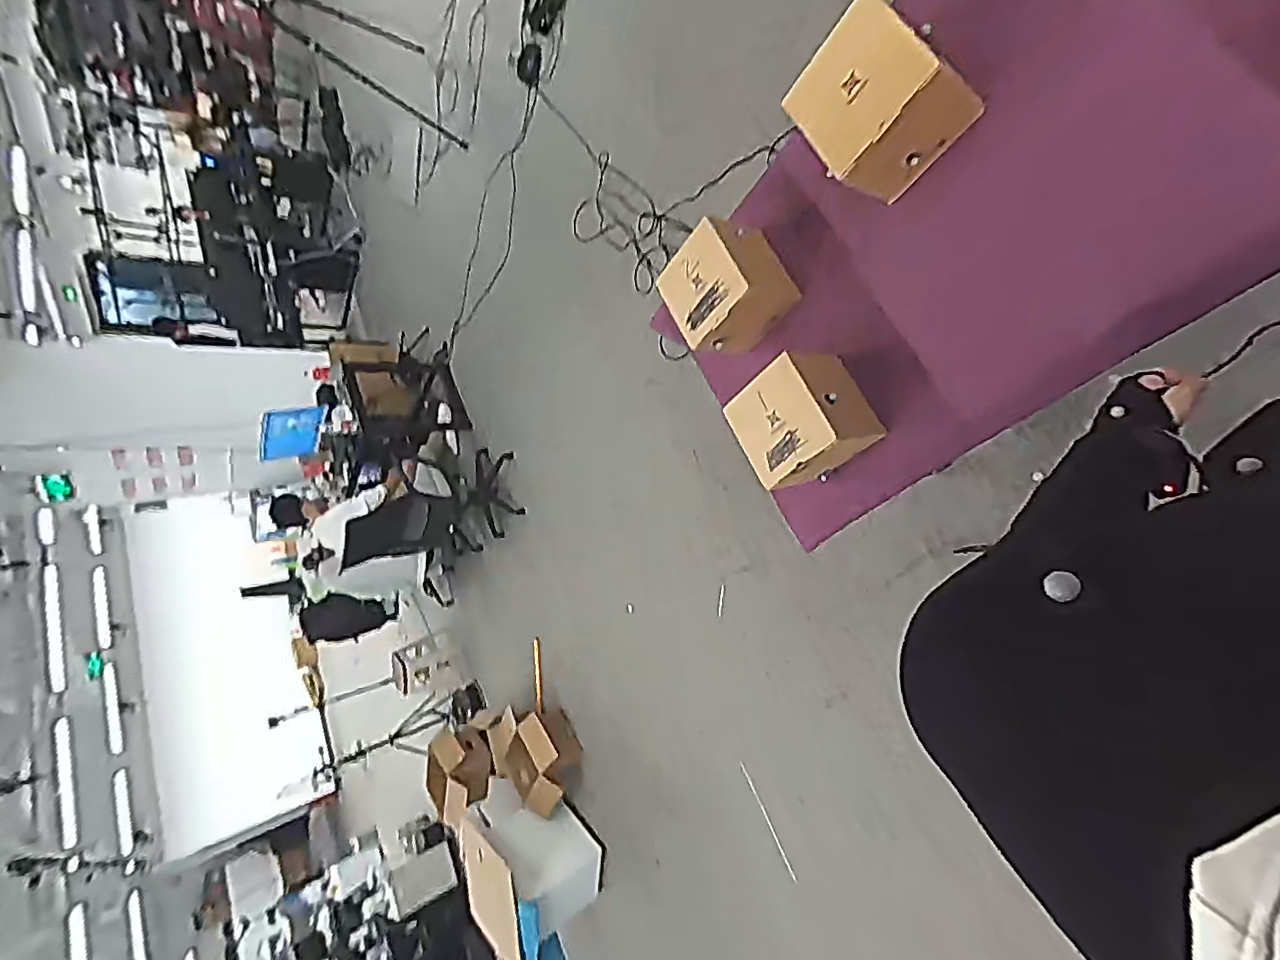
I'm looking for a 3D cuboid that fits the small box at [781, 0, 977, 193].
[{"bbox_3d":[0.351,-0.561,0.800,0.168,0.176,0.179,-44,66,43],"label":"small box"}]

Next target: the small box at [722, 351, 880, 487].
[{"bbox_3d":[0.285,-0.109,0.955,0.168,0.176,0.179,-43,64,43],"label":"small box"}]
